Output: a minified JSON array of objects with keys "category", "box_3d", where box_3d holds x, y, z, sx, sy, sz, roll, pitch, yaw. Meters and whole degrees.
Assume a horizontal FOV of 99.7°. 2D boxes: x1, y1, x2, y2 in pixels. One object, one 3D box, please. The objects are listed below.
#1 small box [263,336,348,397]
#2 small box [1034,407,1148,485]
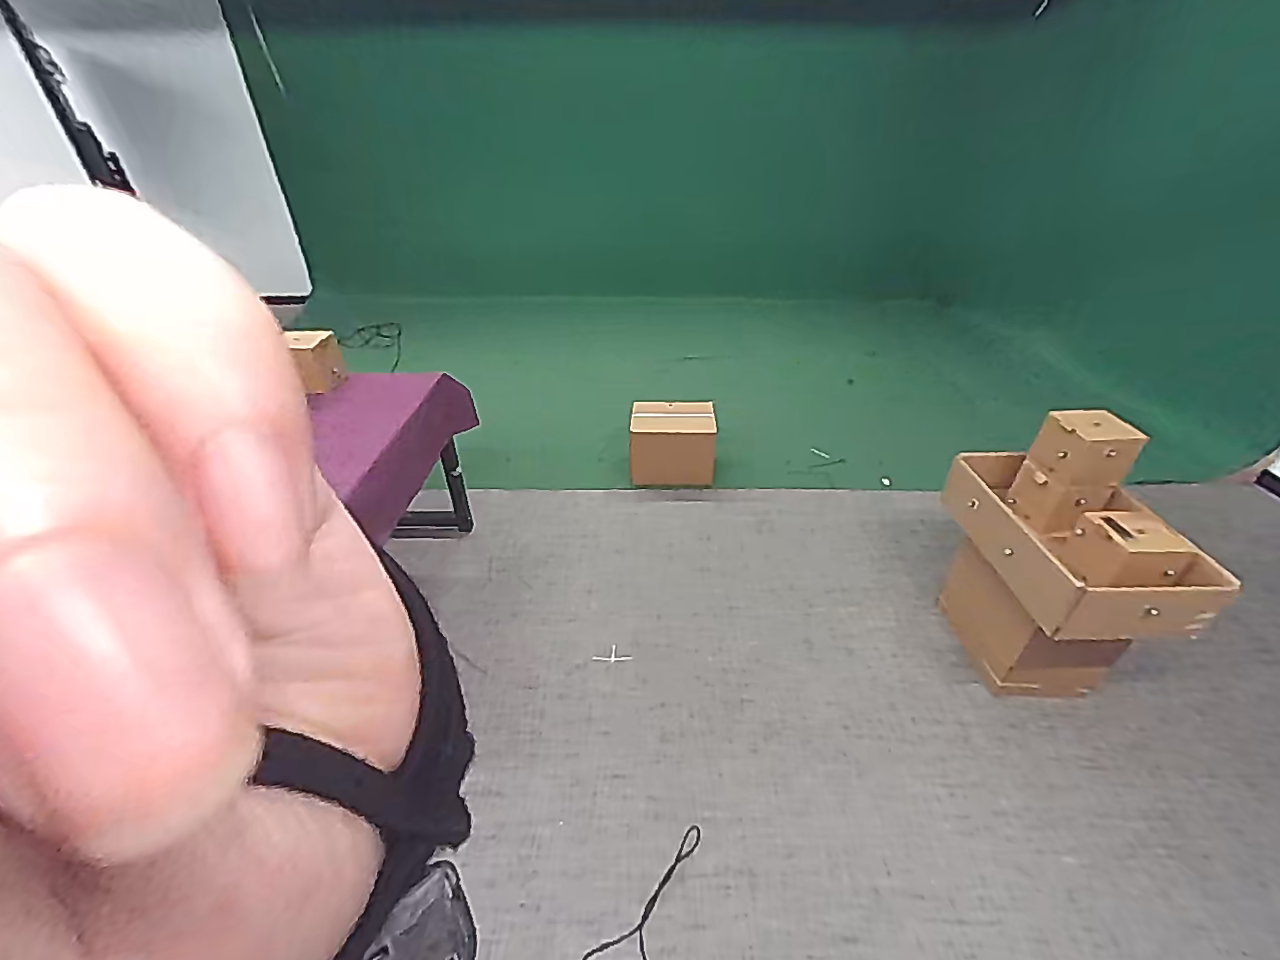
[{"category":"small box","box_3d":[-1.179,-0.403,1.920,0.179,0.176,0.168,0,35,1]},{"category":"small box","box_3d":[1.294,-0.097,1.575,0.179,0.176,0.168,-2,36,-3]}]
